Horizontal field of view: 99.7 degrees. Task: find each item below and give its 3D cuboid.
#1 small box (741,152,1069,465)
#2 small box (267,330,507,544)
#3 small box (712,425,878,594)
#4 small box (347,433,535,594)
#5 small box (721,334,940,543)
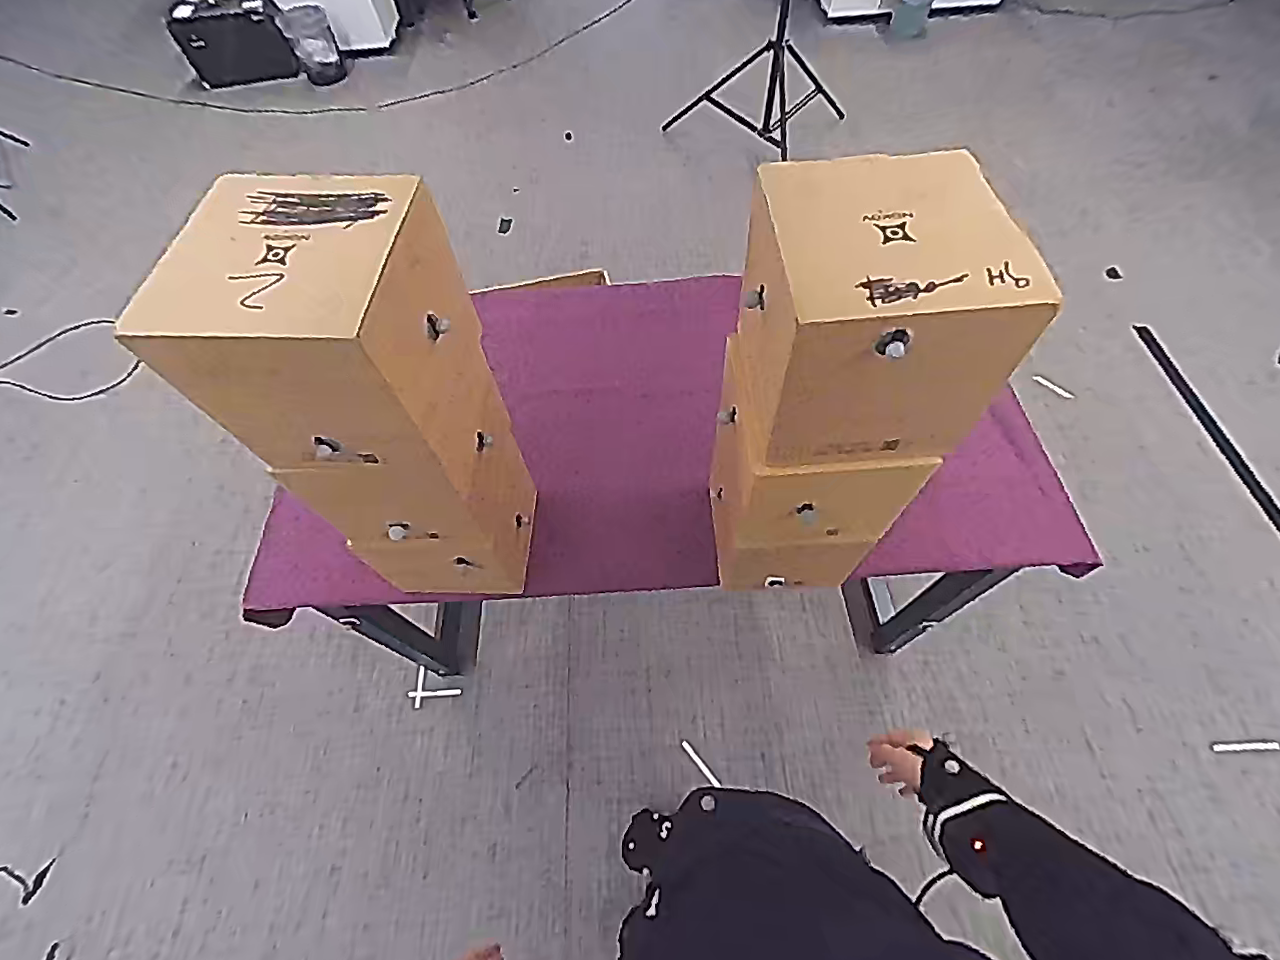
[{"bbox_3d":[0.180,-0.132,0.440,0.168,0.176,0.179,-4,58,2],"label":"small box"},{"bbox_3d":[-0.252,-0.043,0.595,0.168,0.176,0.179,0,61,2],"label":"small box"},{"bbox_3d":[0.188,0.039,0.719,0.168,0.176,0.179,-4,61,2],"label":"small box"},{"bbox_3d":[-0.249,0.048,0.732,0.179,0.176,0.168,0,59,3],"label":"small box"},{"bbox_3d":[0.181,-0.040,0.577,0.168,0.176,0.179,-4,59,2],"label":"small box"}]
